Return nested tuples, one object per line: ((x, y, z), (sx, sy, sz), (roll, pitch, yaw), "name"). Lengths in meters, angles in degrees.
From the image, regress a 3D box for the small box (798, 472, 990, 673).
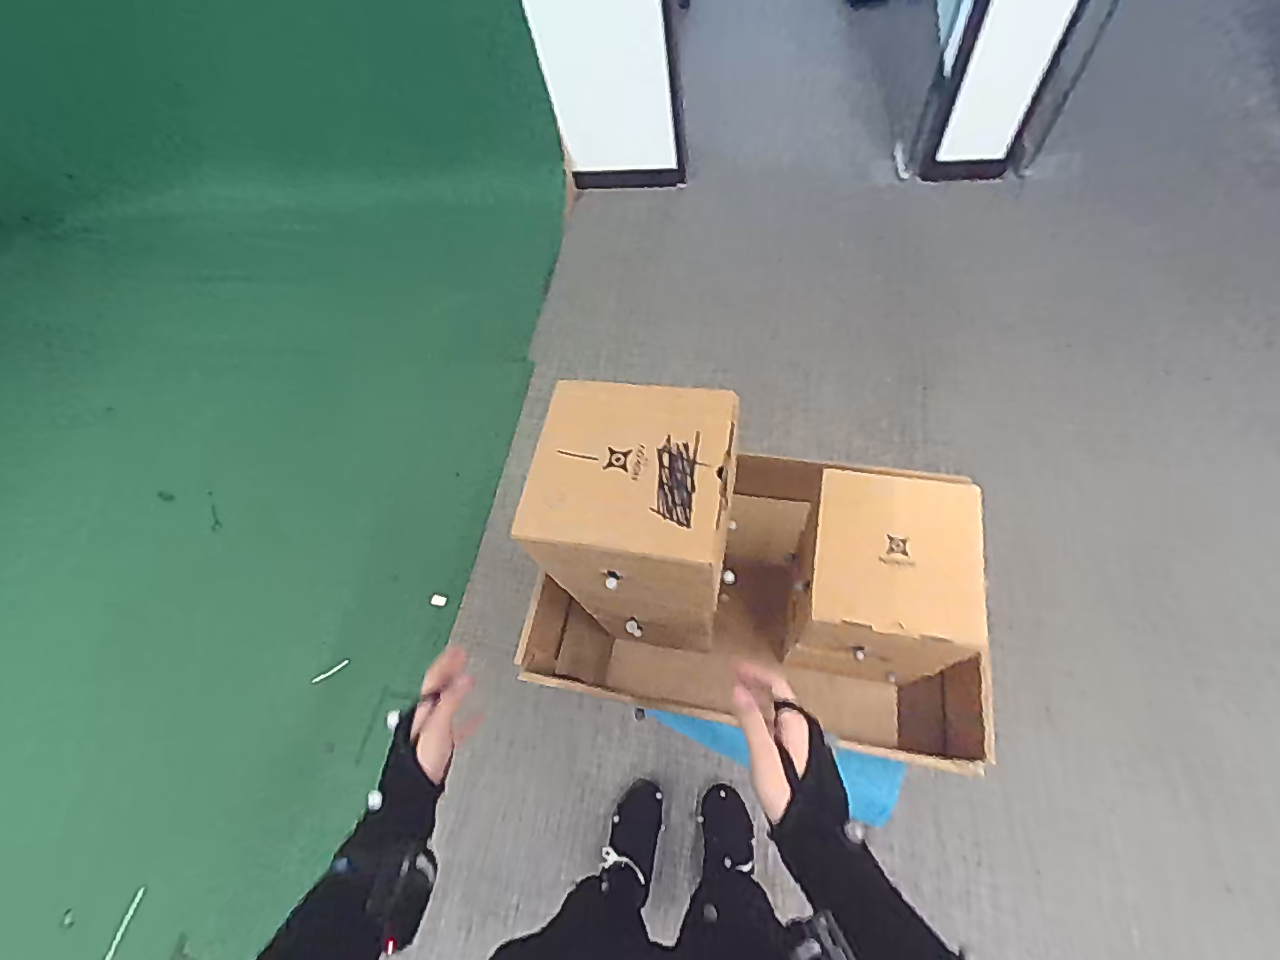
((0.284, 0.113, 0.636), (0.168, 0.176, 0.179), (7, 65, 14), "small box")

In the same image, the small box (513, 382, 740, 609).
((0.002, 0.023, 0.546), (0.179, 0.176, 0.168), (7, 64, 13), "small box")

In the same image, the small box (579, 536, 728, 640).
((0.023, 0.091, 0.694), (0.168, 0.176, 0.179), (8, 65, 13), "small box")
